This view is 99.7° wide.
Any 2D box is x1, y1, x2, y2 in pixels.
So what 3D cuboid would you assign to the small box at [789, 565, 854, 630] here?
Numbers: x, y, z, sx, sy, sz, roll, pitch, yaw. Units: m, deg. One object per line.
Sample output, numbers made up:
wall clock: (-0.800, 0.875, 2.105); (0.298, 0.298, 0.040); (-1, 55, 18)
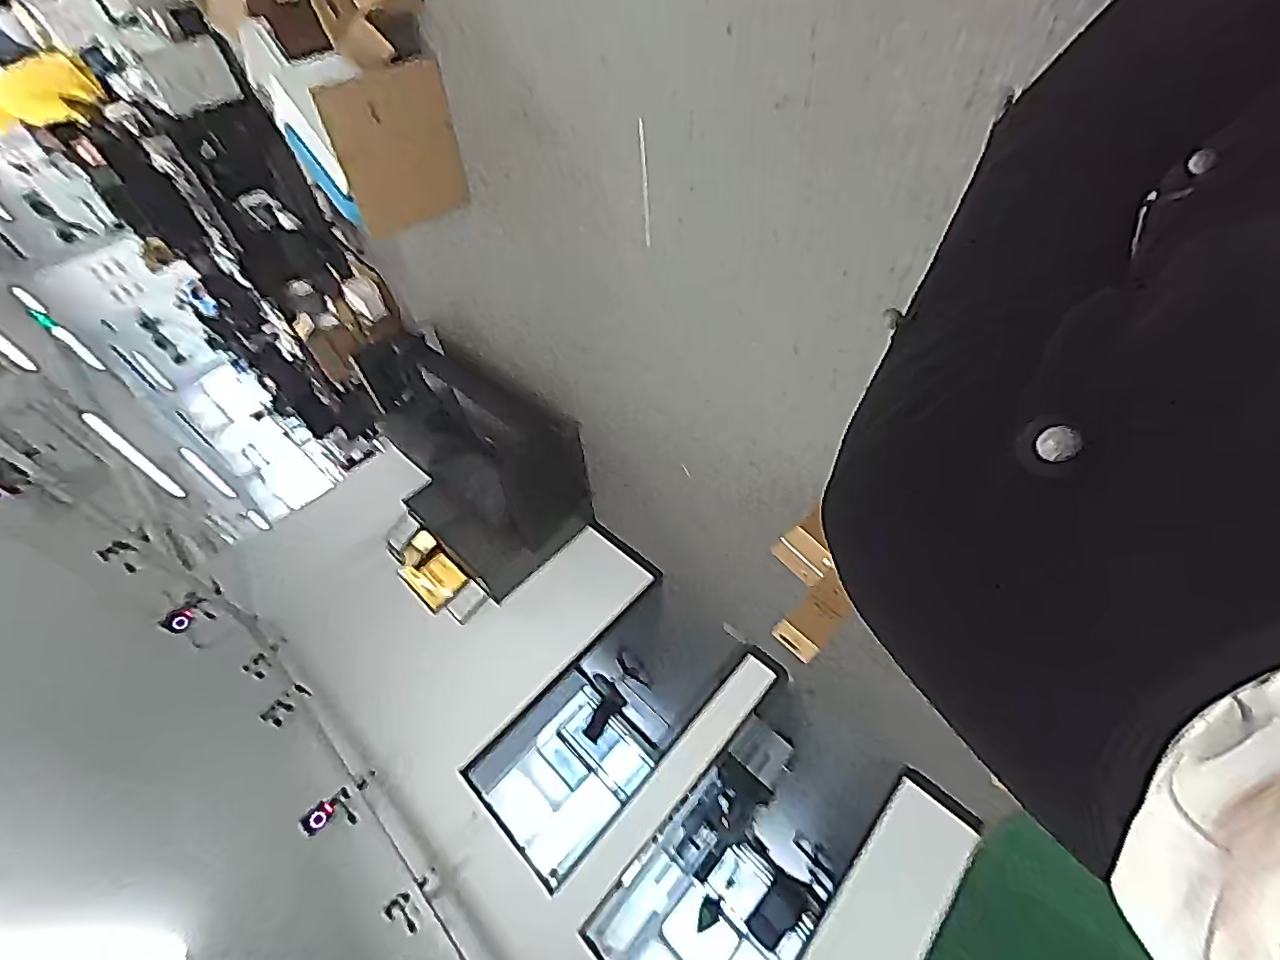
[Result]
small box: (0.754, 0.484, 2.237); (0.168, 0.176, 0.179); (41, 151, 19)
